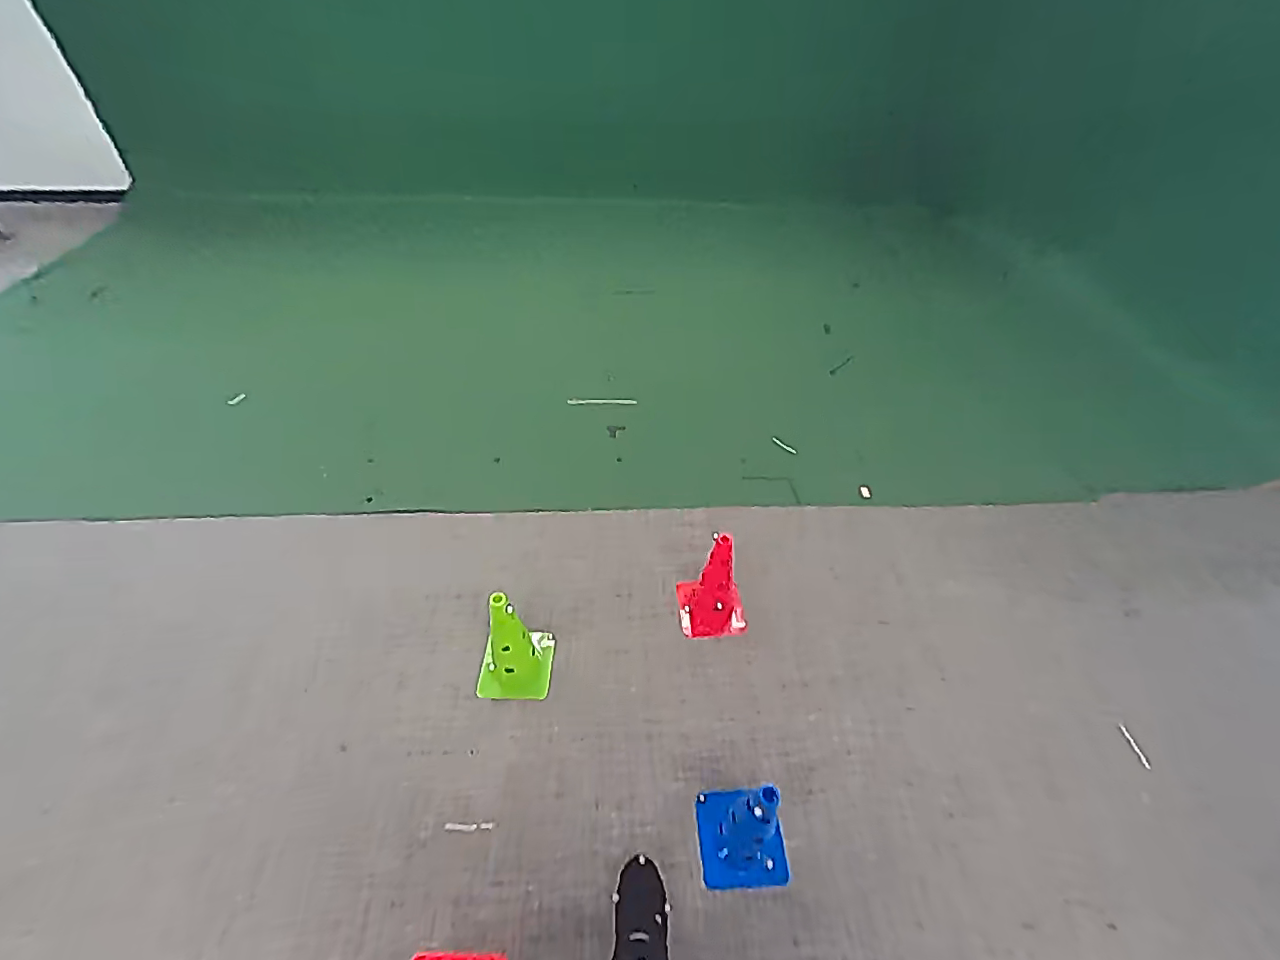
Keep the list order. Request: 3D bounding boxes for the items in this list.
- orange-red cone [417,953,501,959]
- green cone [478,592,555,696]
[{"bbox_3d":[-0.366,0.932,0.932,0.198,0.360,0.199,3,44,0],"label":"orange-red cone"},{"bbox_3d":[-0.352,0.408,1.442,0.200,0.368,0.202,1,47,-1],"label":"green cone"}]
